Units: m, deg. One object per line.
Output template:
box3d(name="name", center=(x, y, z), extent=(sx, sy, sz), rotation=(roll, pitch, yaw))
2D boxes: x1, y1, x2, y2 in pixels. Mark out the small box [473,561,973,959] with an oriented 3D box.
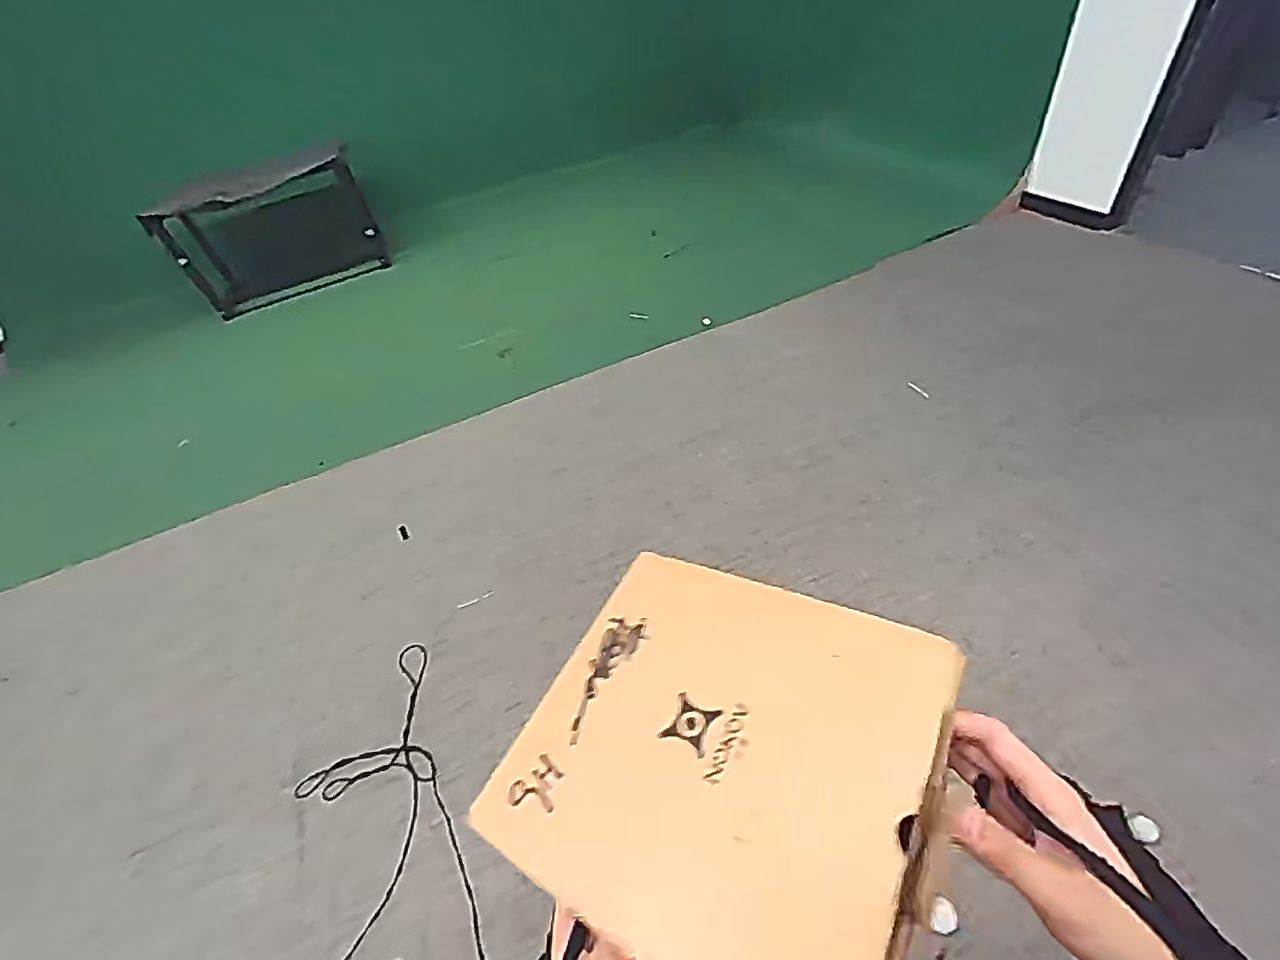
box3d(name="small box", center=(0.056, 0.176, 0.292), extent=(0.179, 0.176, 0.168), rotation=(13, 52, 37))
